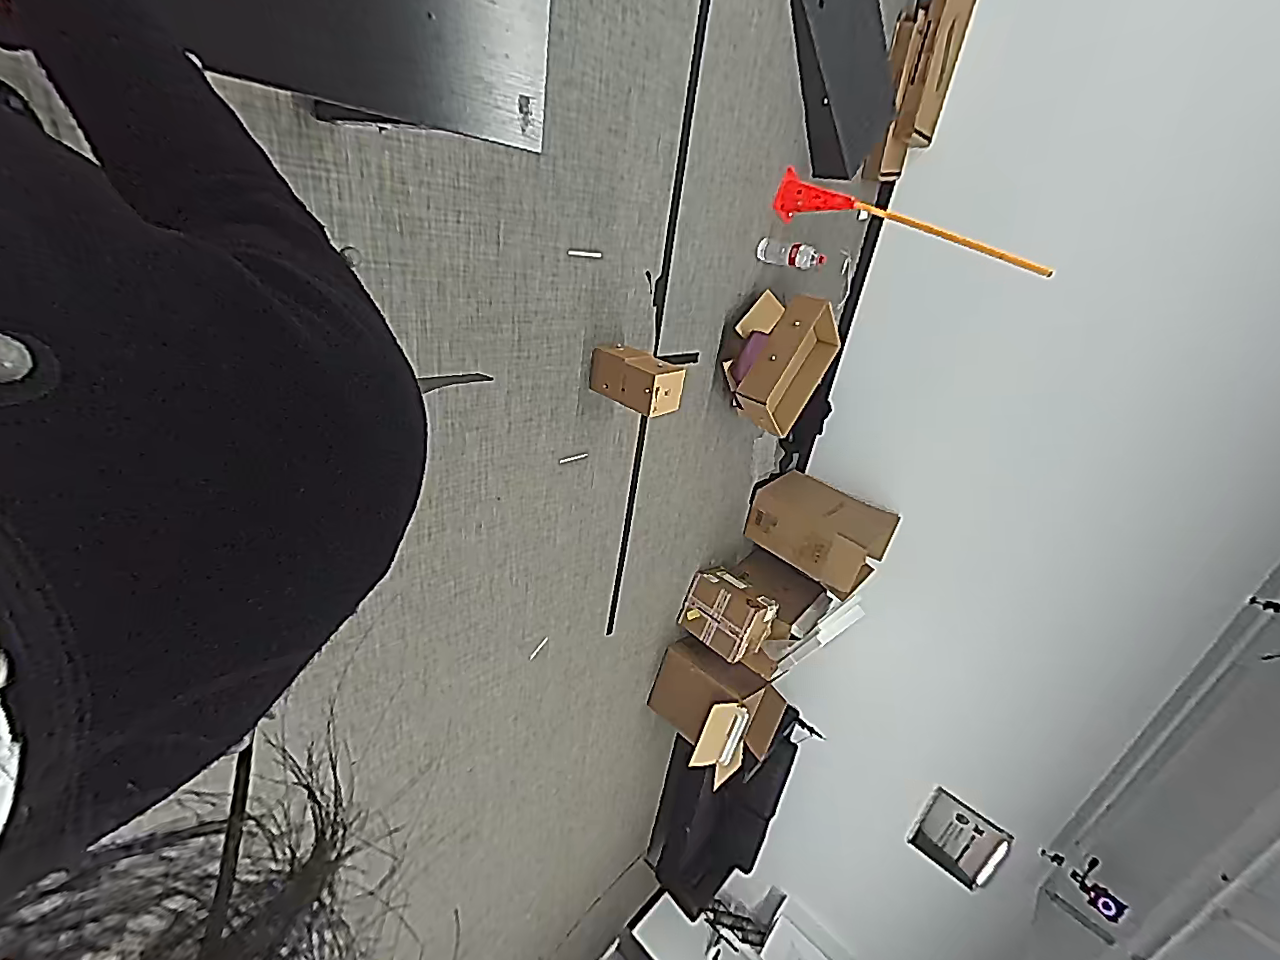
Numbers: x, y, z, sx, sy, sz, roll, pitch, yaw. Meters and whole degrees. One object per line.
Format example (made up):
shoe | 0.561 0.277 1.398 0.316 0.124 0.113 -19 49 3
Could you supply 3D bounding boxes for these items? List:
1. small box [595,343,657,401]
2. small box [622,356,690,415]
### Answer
small box | -0.059 -0.430 2.131 0.168 0.176 0.179 -20 128 -44
small box | 0.058 -0.362 2.038 0.179 0.176 0.168 -22 130 -44
